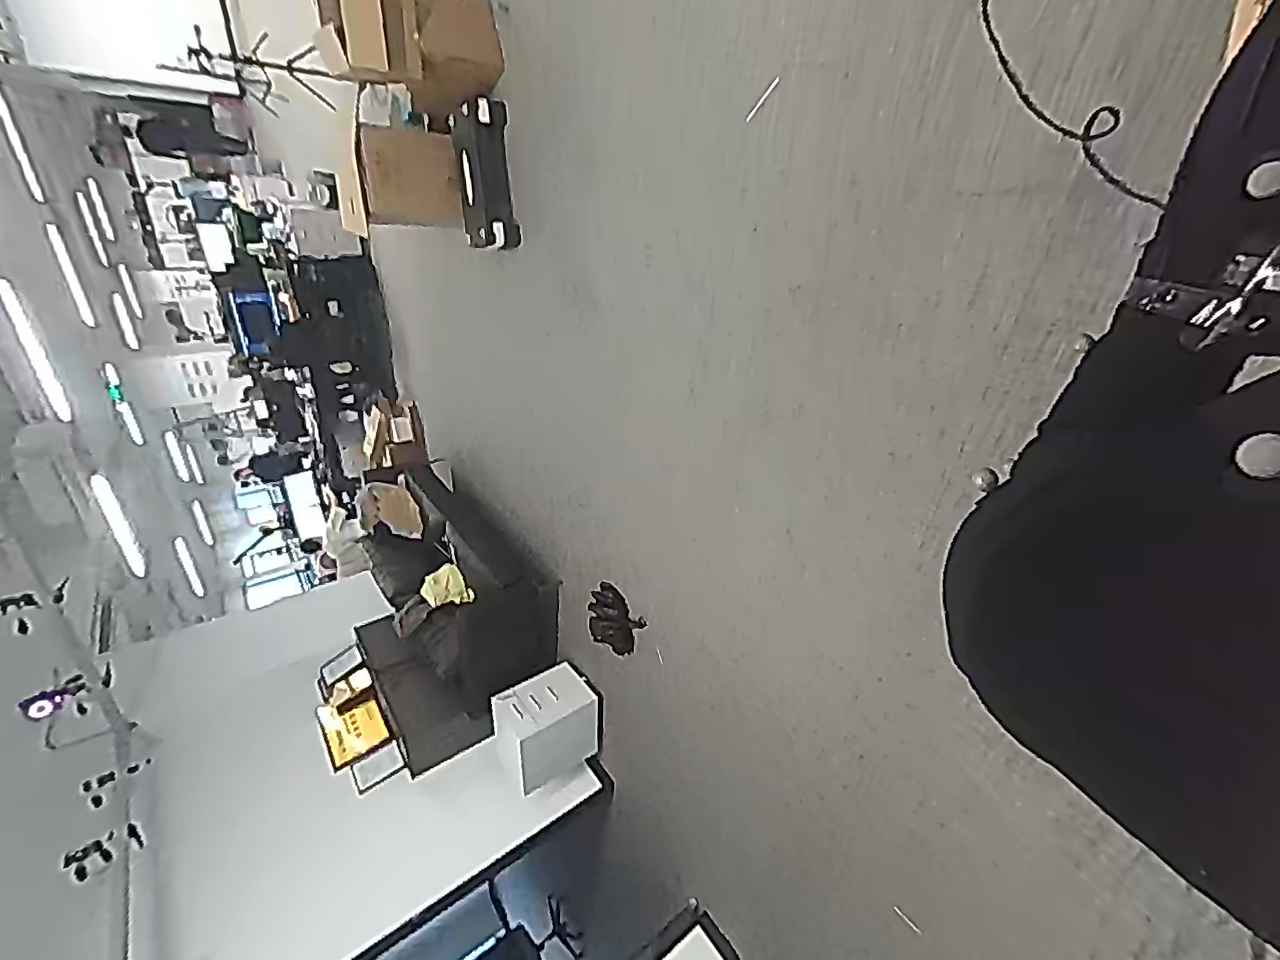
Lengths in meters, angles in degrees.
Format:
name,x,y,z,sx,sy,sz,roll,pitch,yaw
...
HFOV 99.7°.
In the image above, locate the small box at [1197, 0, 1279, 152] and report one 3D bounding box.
name,x,y,z,sx,sy,sz,roll,pitch,yaw
small box,0.877,-0.543,0.702,0.168,0.176,0.179,19,119,52
